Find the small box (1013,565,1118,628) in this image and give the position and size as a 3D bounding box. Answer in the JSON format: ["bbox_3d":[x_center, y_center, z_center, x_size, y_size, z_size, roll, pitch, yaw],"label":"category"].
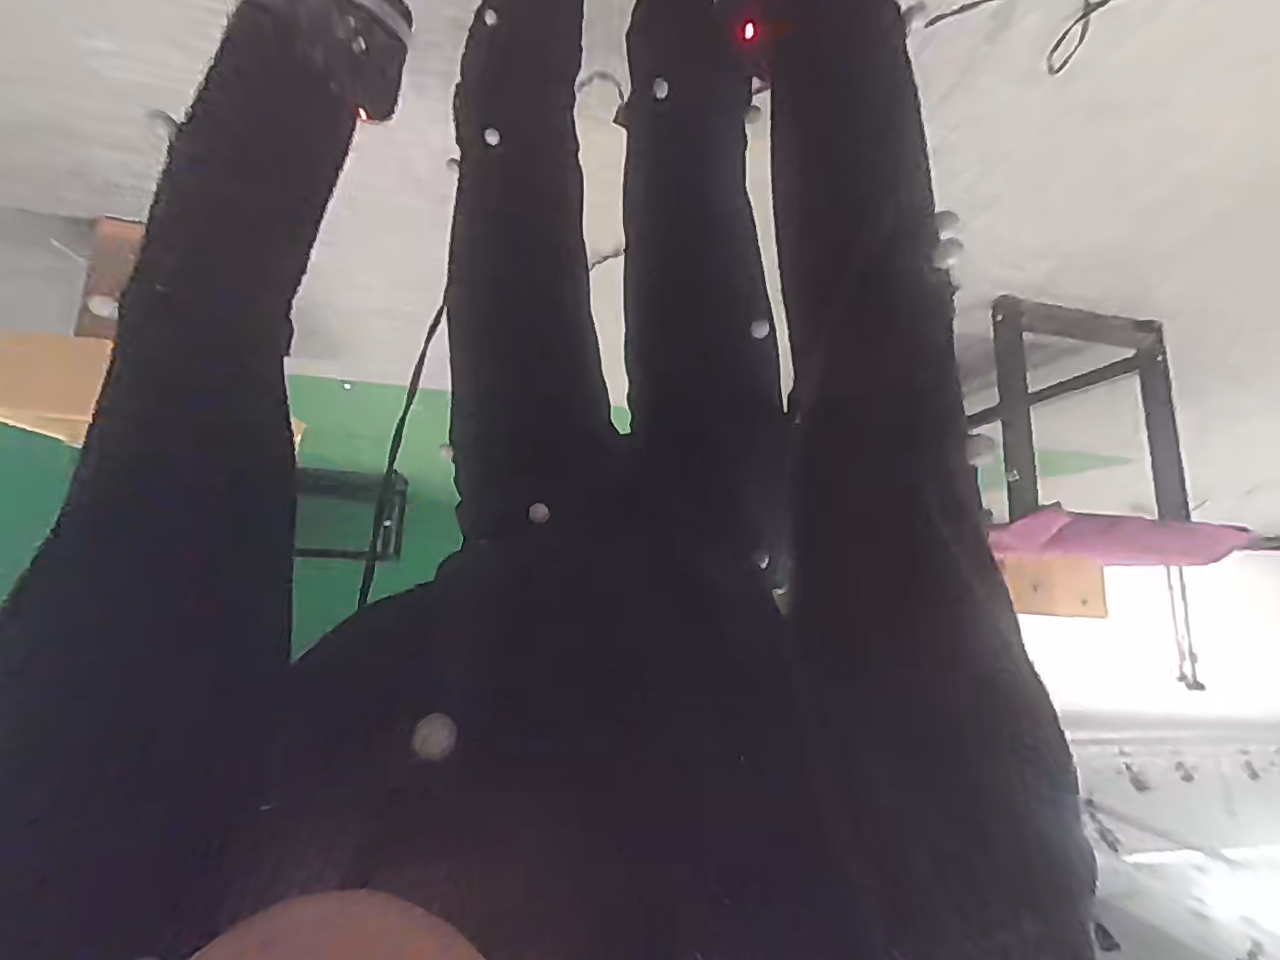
[{"bbox_3d":[1.227,0.338,1.572,0.179,0.176,0.168,4,168,-9],"label":"small box"}]
